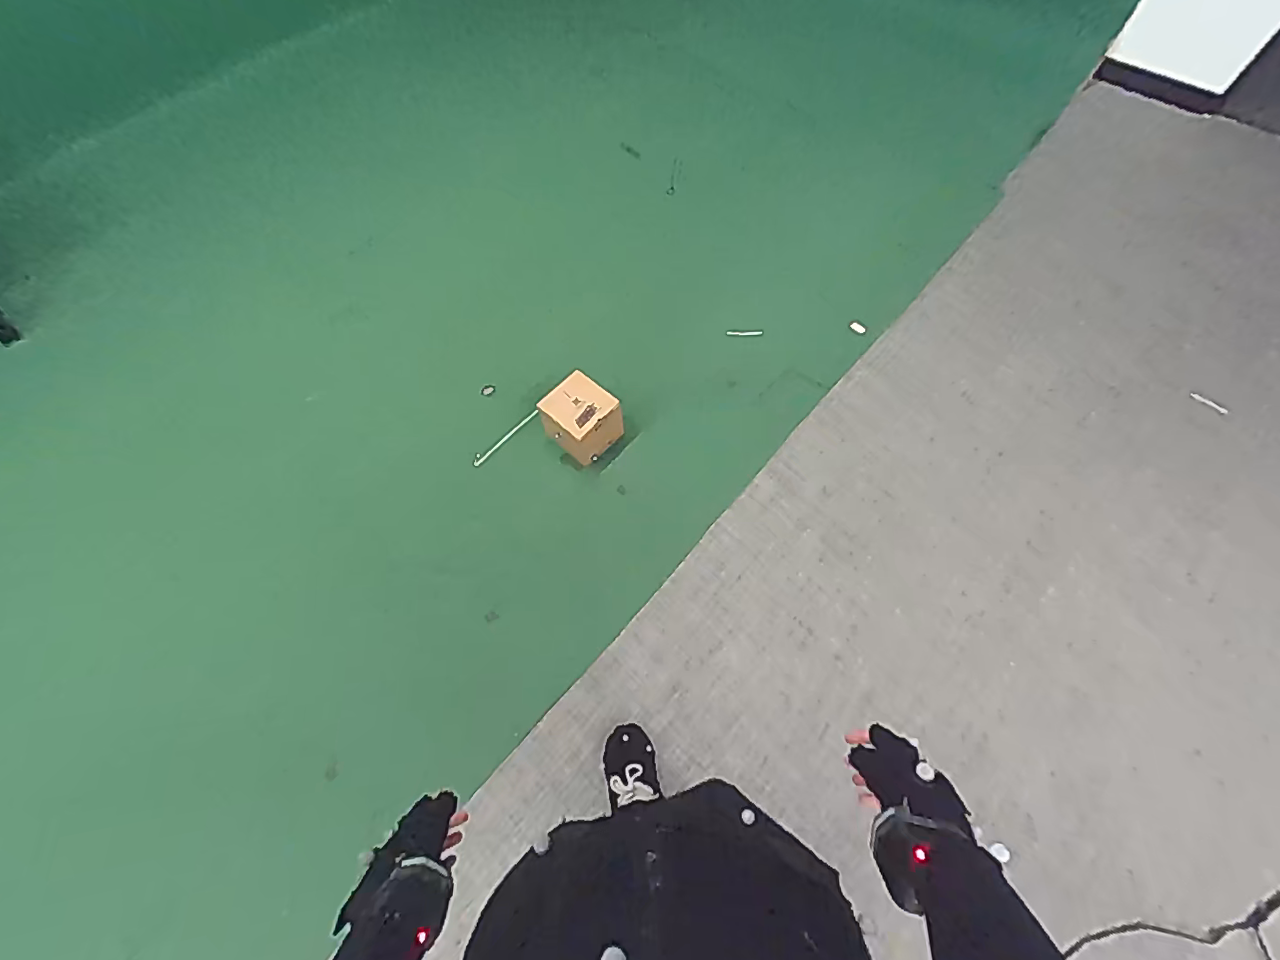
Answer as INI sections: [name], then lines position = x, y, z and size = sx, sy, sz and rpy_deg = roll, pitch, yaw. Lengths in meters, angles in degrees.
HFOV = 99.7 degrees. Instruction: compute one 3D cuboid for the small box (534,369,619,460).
[small box]
position = -0.176, -0.180, 1.575
size = 0.179, 0.176, 0.168
rpy_deg = 39, 71, 19
